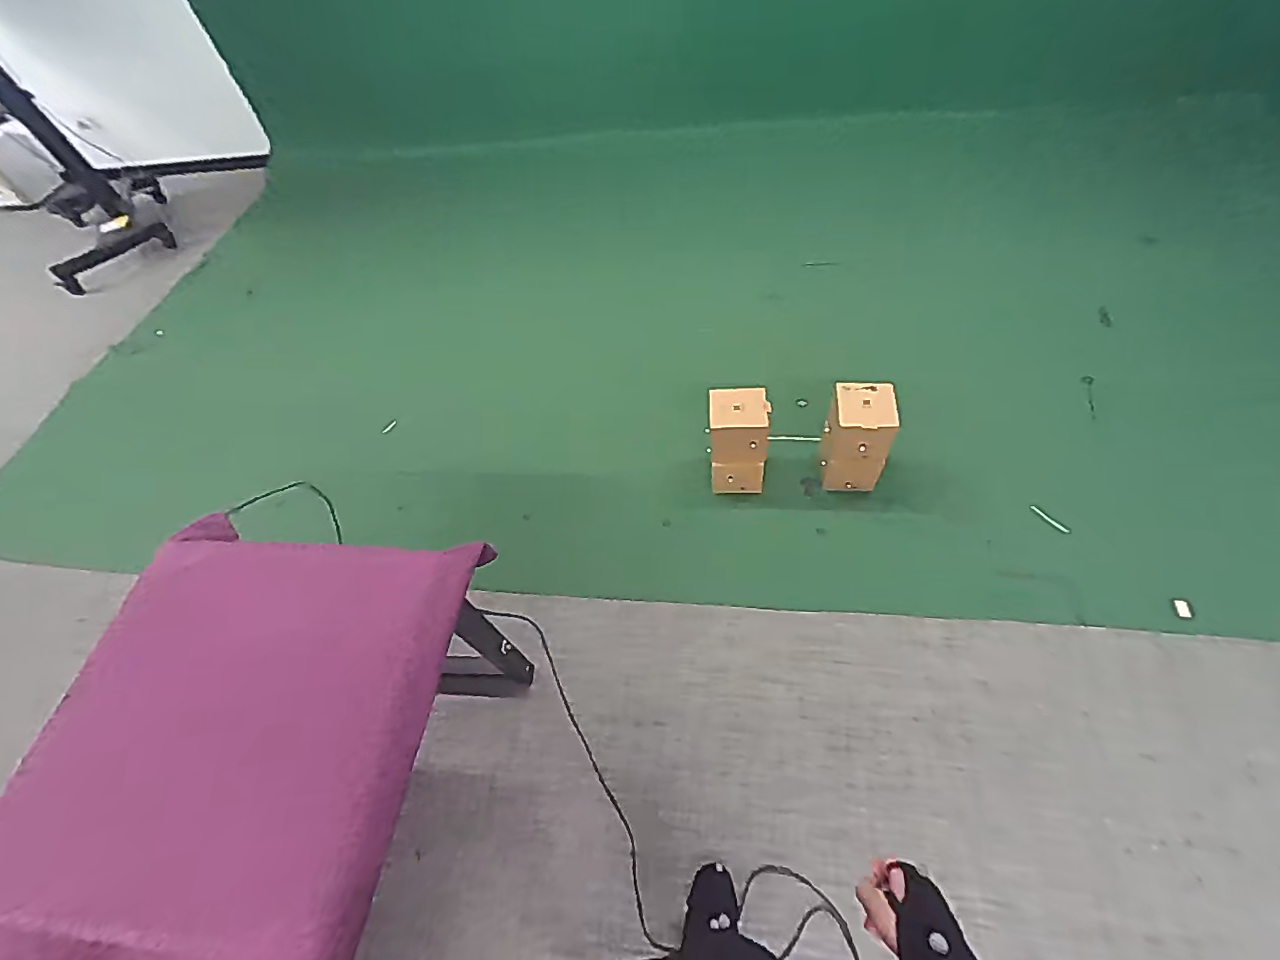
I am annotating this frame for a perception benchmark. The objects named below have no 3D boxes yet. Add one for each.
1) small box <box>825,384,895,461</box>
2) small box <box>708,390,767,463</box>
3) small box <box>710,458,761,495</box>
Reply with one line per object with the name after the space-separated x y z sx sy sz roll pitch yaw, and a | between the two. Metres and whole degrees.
0.670 -0.173 1.662 0.168 0.176 0.179 3 57 9 | small box
0.305 -0.167 1.715 0.179 0.176 0.168 -1 54 8 | small box
0.322 -0.061 1.838 0.168 0.176 0.179 -1 54 8 | small box
